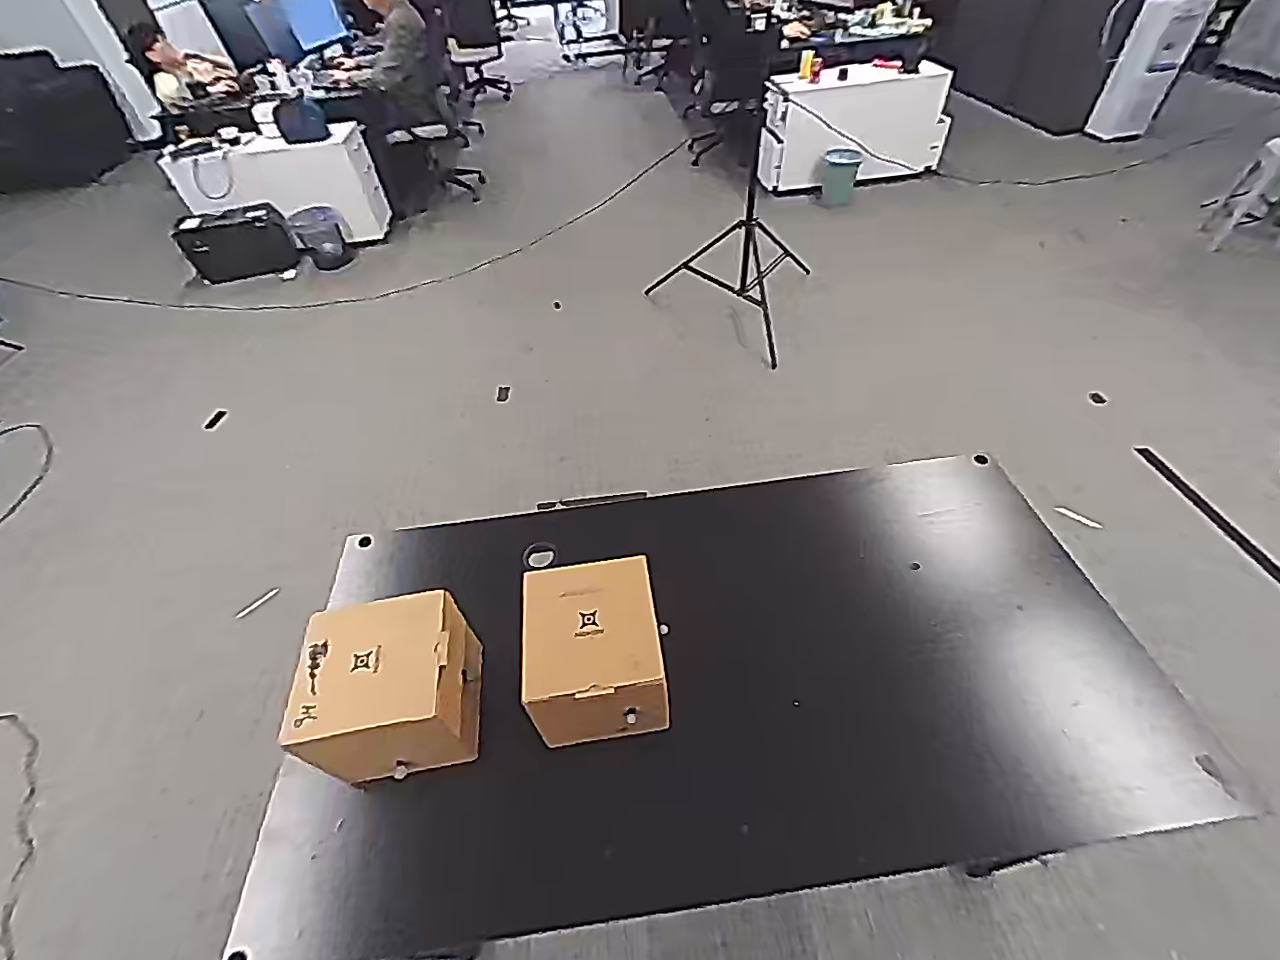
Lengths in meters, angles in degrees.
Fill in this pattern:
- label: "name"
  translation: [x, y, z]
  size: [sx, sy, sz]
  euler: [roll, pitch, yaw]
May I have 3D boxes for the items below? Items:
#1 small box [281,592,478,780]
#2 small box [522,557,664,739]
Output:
- label: "small box"
  translation: [-0.318, 0.271, 0.708]
  size: [0.179, 0.176, 0.168]
  euler: [-8, 47, -5]
- label: "small box"
  translation: [-0.060, 0.231, 0.728]
  size: [0.168, 0.176, 0.179]
  euler: [-7, 47, -4]
